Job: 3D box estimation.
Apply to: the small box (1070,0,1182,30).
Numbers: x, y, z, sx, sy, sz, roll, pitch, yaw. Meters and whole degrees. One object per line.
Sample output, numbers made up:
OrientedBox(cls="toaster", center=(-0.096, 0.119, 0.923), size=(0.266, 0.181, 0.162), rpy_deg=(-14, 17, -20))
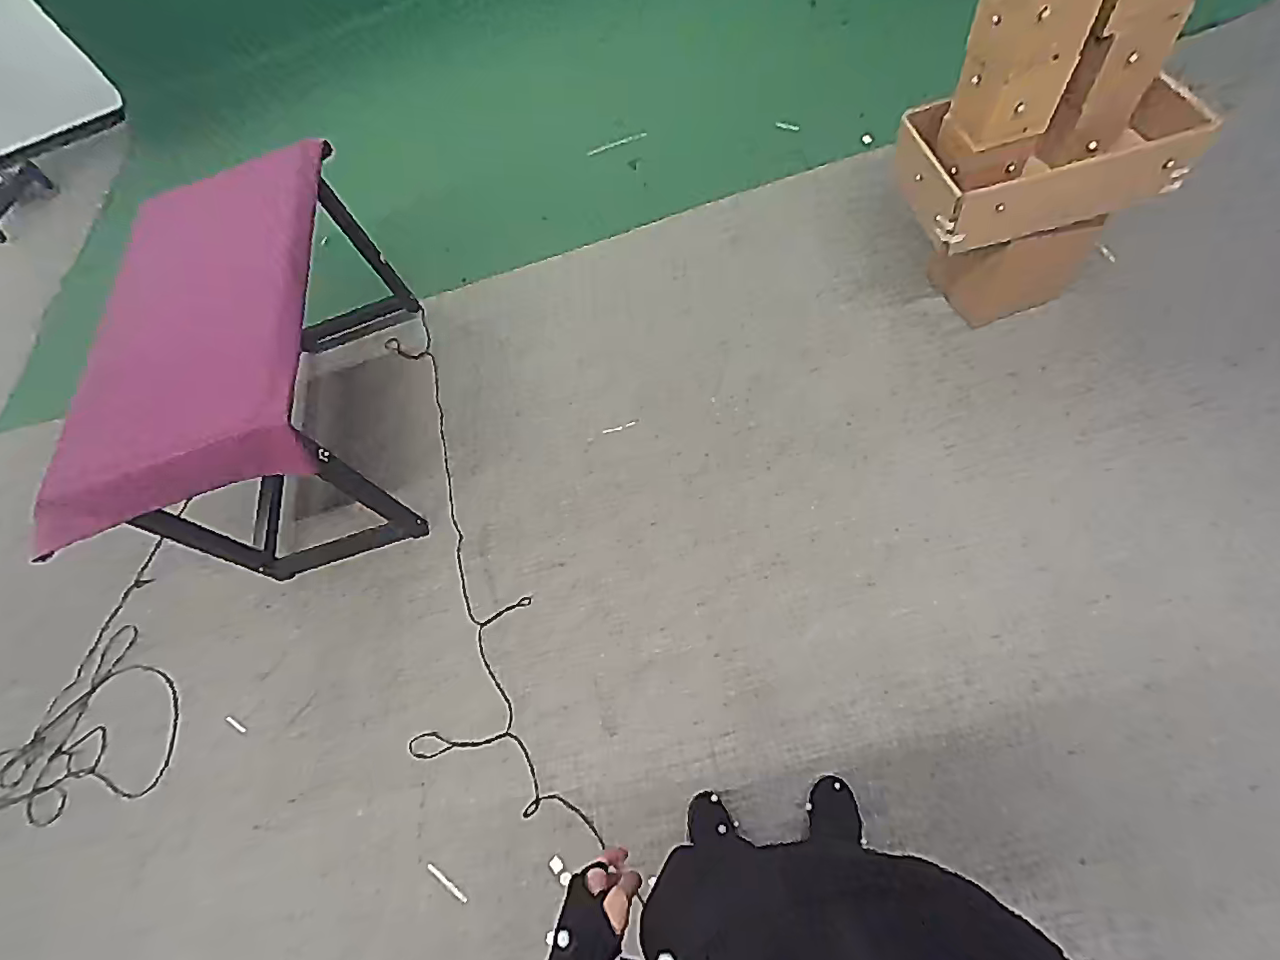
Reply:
OrientedBox(cls="small box", center=(1.087, -1.125, 1.163), size=(0.179, 0.176, 0.168), rpy_deg=(-14, 60, 9))

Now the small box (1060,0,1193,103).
OrientedBox(cls="small box", center=(1.142, -1.058, 1.304), size=(0.179, 0.176, 0.168), rpy_deg=(-20, 61, 5))

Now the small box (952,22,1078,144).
OrientedBox(cls="small box", center=(0.898, -0.954, 1.315), size=(0.168, 0.176, 0.179), rpy_deg=(-16, 60, 5))
